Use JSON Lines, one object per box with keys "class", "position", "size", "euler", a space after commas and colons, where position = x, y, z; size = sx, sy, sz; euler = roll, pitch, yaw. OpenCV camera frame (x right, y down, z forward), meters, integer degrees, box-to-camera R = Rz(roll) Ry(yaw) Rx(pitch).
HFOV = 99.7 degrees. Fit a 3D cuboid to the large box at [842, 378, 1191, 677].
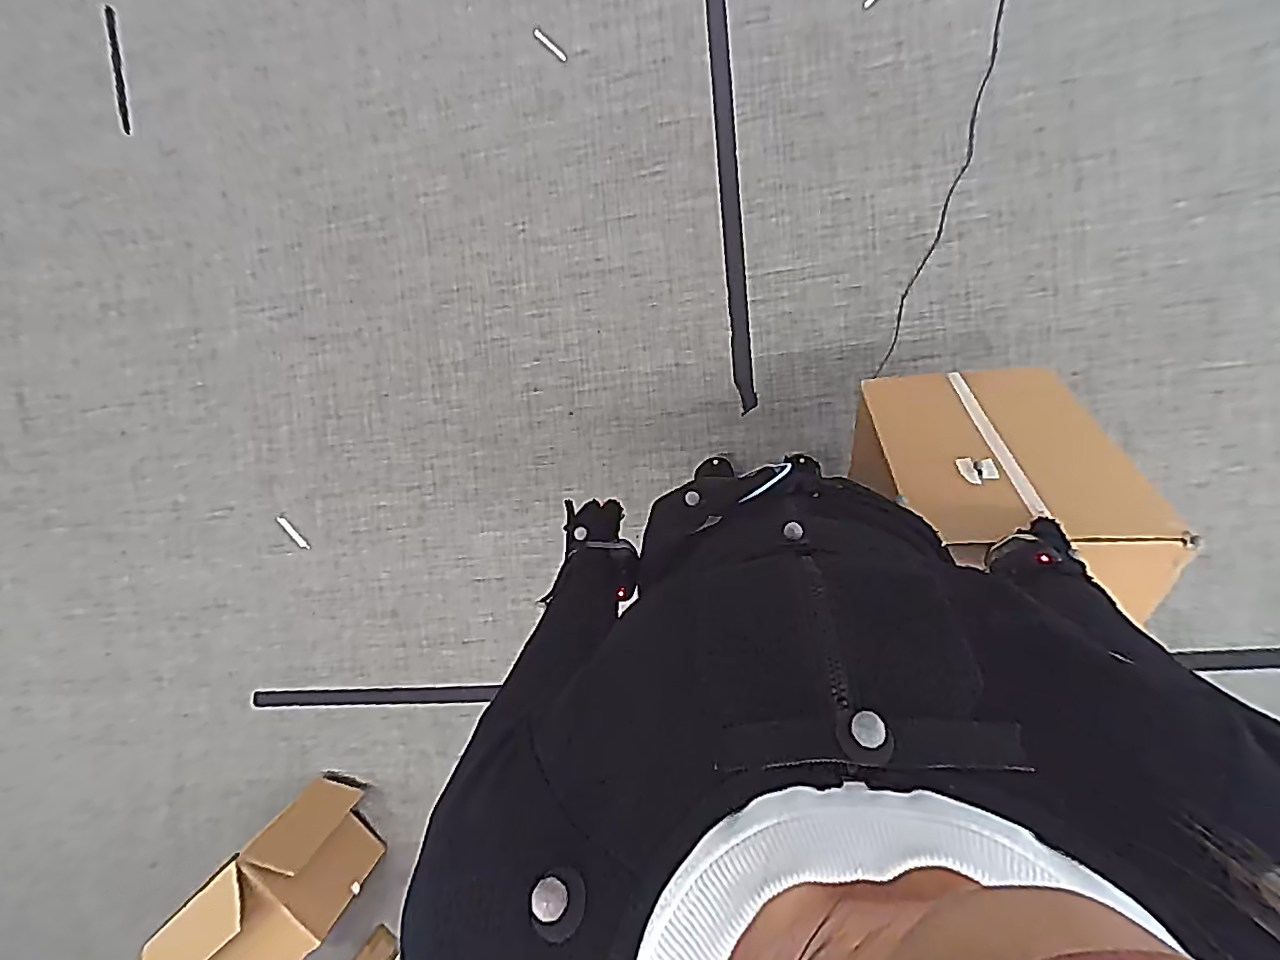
{"class": "large box", "position": [0.550, 0.070, 0.913], "size": [0.320, 0.408, 0.320], "euler": [-3, 131, 11]}
